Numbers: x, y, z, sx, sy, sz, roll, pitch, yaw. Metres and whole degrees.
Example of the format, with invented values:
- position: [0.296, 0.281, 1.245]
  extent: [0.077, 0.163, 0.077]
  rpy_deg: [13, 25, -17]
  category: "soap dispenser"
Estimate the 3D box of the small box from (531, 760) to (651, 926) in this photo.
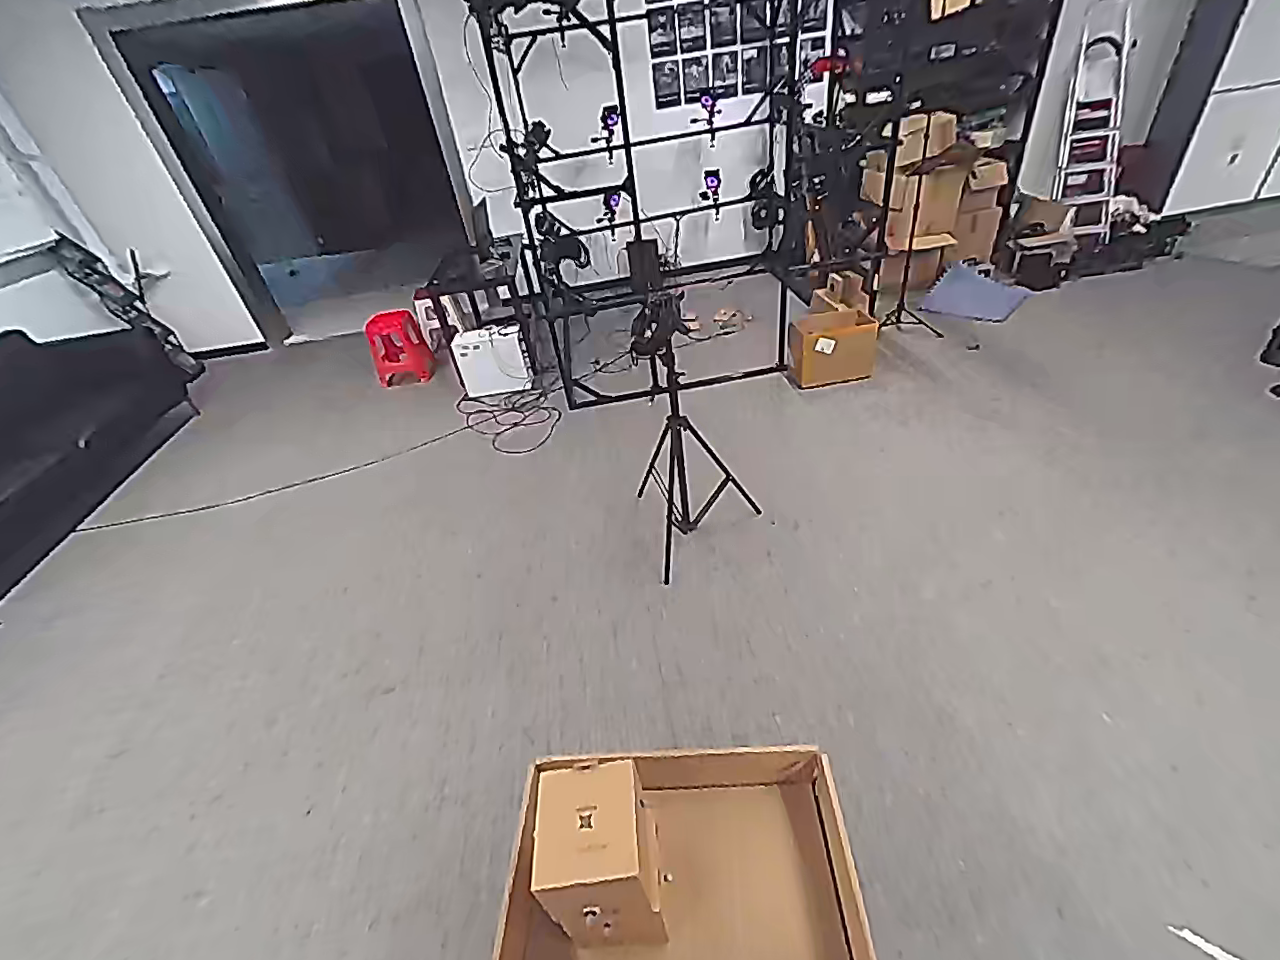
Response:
- position: [-0.077, 0.611, 0.914]
  extent: [0.168, 0.176, 0.179]
  rpy_deg: [-9, 35, 2]
  category: "small box"

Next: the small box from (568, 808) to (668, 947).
- position: [-0.046, 0.741, 1.008]
  extent: [0.179, 0.176, 0.168]
  rpy_deg: [-6, 36, 3]
  category: "small box"
